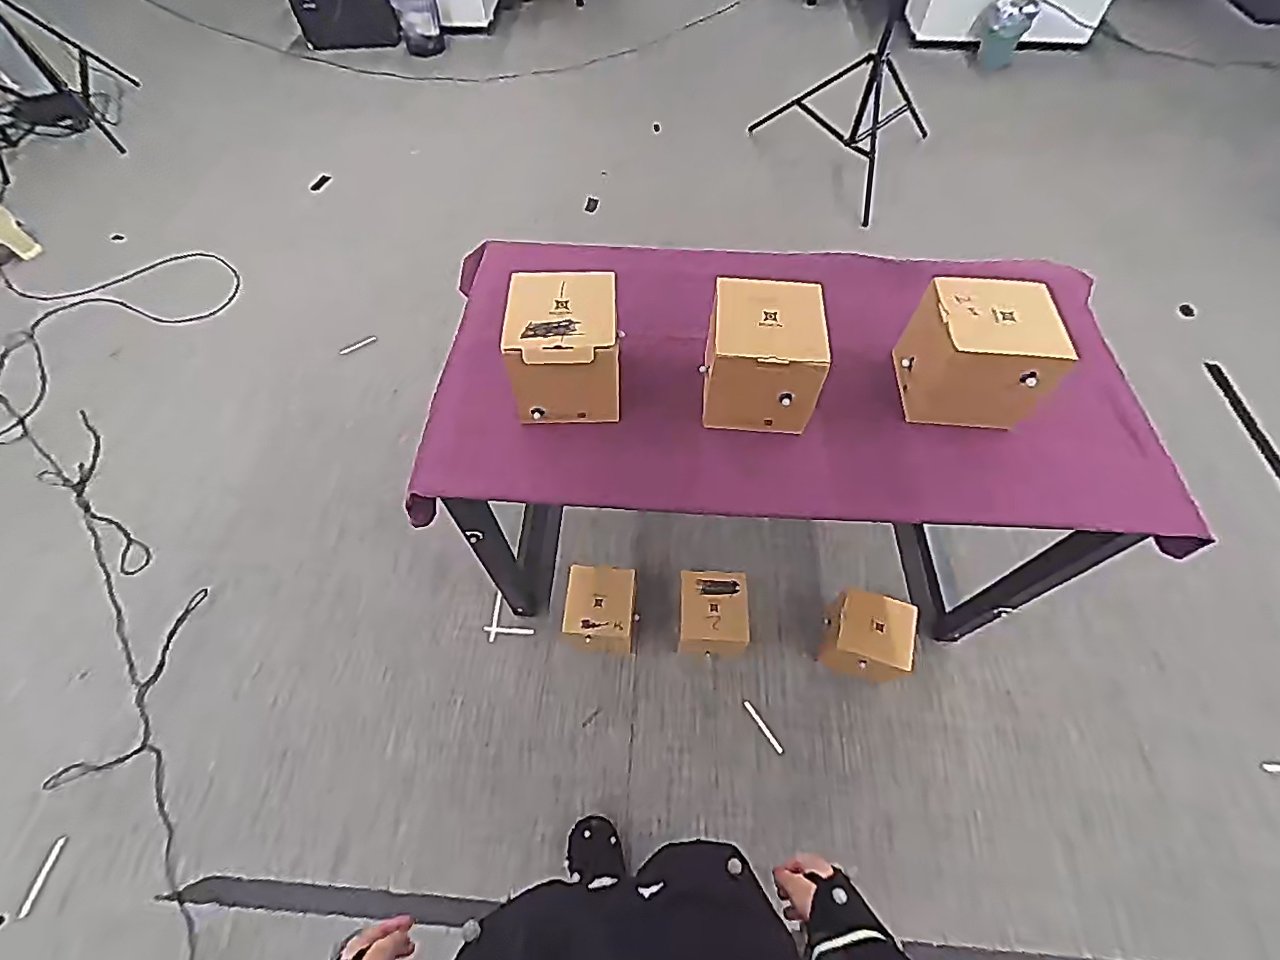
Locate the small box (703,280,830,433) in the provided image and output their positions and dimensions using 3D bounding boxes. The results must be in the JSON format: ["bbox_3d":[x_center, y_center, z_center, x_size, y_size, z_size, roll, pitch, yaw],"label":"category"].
[{"bbox_3d":[0.195,-0.195,0.876,0.168,0.176,0.179,5,57,1],"label":"small box"}]

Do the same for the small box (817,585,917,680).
[{"bbox_3d":[0.572,0.395,1.375,0.179,0.176,0.168,17,61,11],"label":"small box"}]

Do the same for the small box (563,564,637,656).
[{"bbox_3d":[-0.098,0.340,1.403,0.168,0.176,0.179,5,57,3],"label":"small box"}]

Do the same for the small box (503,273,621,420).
[{"bbox_3d":[-0.116,-0.210,0.880,0.168,0.176,0.179,-1,57,-1],"label":"small box"}]

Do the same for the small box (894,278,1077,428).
[{"bbox_3d":[0.544,-0.201,0.880,0.179,0.176,0.168,4,58,3],"label":"small box"}]
